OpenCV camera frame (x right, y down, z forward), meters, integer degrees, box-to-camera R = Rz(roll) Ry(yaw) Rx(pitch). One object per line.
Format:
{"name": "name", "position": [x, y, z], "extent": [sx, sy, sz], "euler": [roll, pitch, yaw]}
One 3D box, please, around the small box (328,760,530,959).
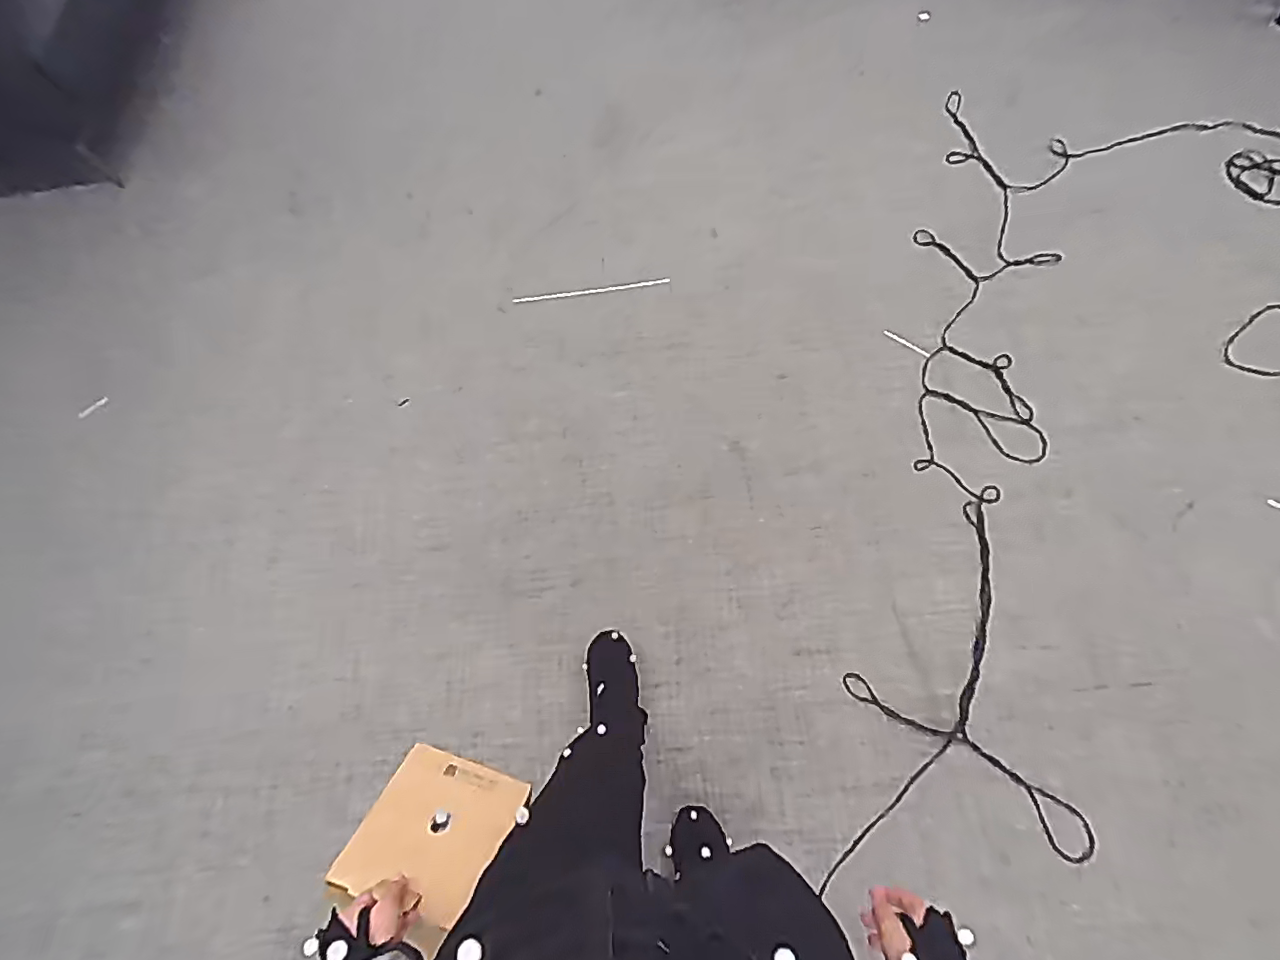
{"name": "small box", "position": [-0.247, 0.486, 0.667], "extent": [0.168, 0.179, 0.176], "euler": [16, 30, 6]}
